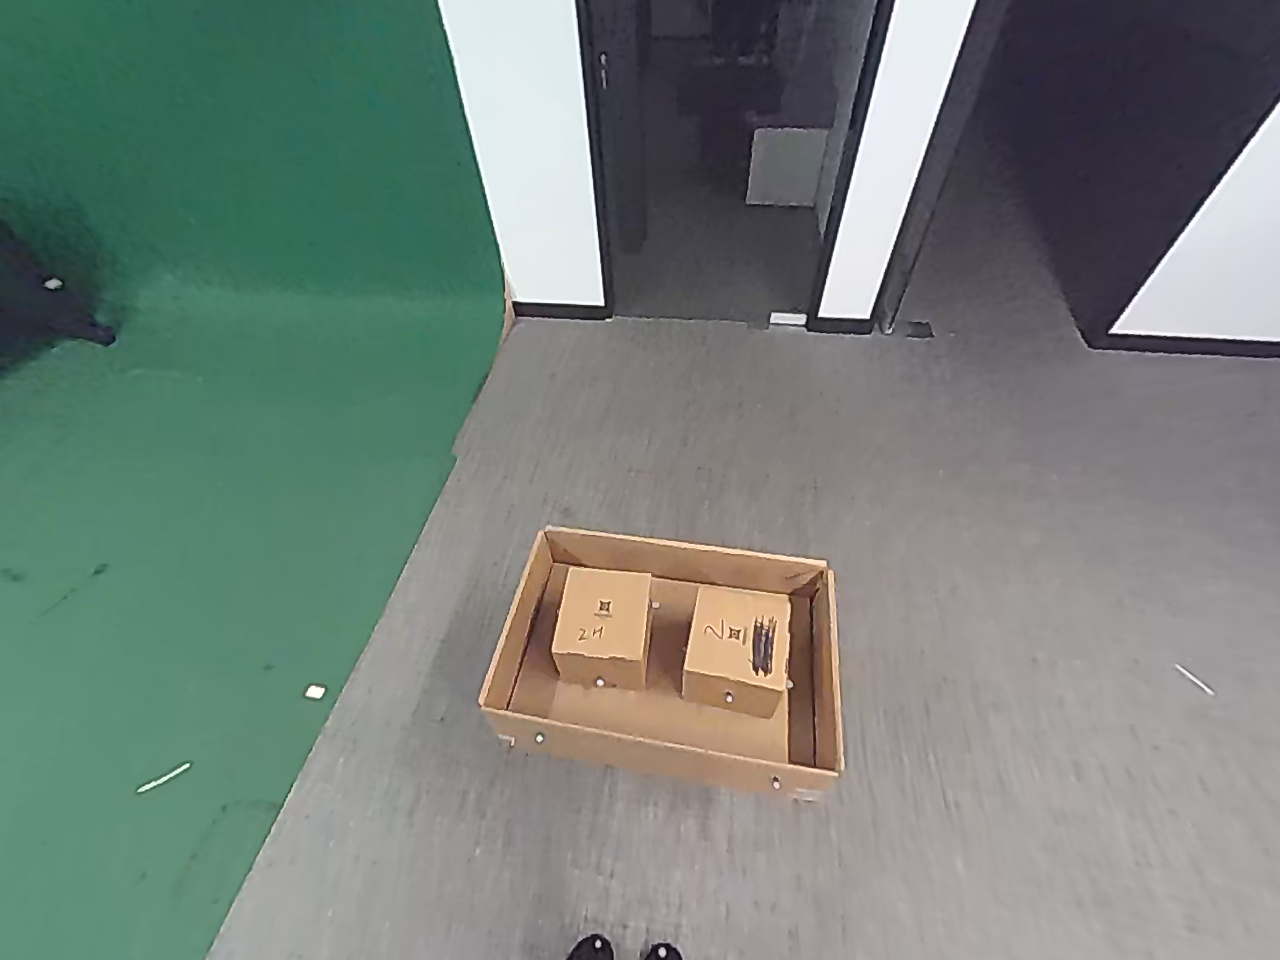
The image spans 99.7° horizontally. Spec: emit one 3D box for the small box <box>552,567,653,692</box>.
[{"bbox_3d":[-0.064,0.295,1.064,0.168,0.176,0.179,4,51,6],"label":"small box"}]
